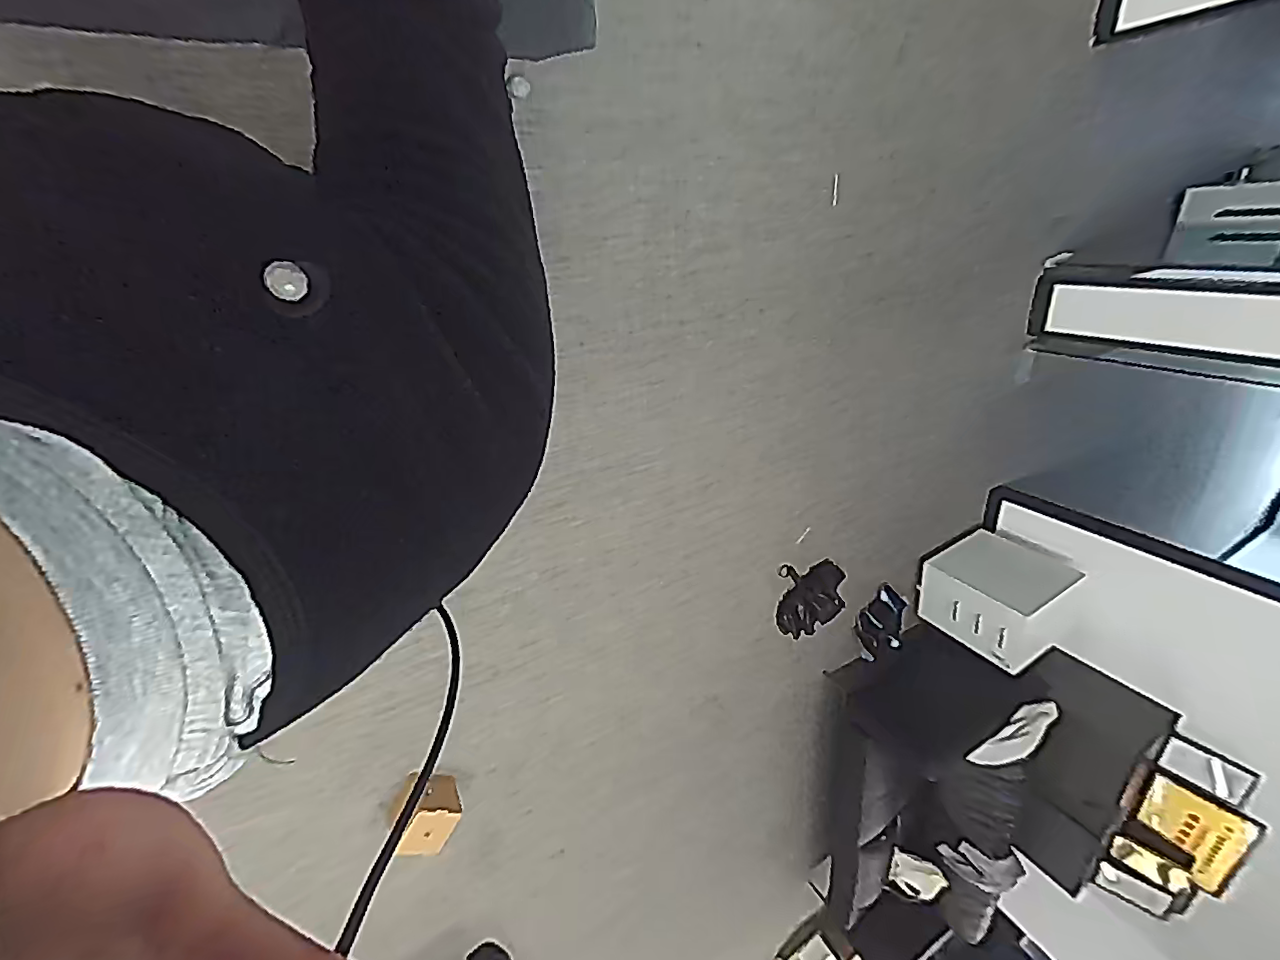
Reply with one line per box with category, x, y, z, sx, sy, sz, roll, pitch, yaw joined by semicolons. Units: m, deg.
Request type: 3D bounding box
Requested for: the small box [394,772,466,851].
small box;-0.743;1.156;1.894;0.168;0.176;0.179;29;95;-37
